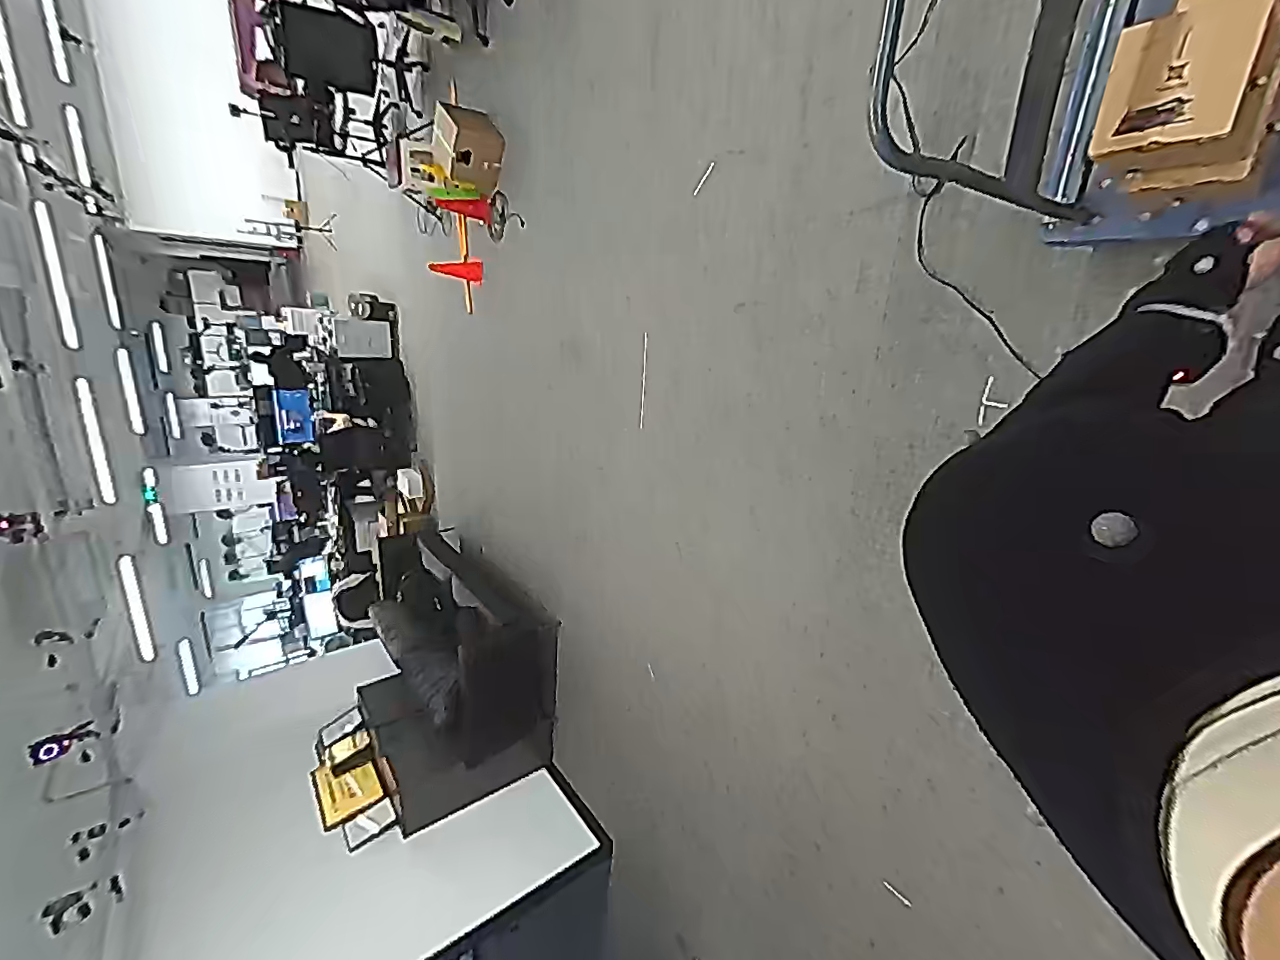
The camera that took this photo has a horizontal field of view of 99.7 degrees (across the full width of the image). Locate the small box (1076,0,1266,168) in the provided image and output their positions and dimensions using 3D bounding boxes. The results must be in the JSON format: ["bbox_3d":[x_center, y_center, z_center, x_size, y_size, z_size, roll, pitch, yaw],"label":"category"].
[{"bbox_3d":[0.831,-0.607,0.848,0.168,0.176,0.179,24,115,47],"label":"small box"}]

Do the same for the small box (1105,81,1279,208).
[{"bbox_3d":[0.965,-0.607,0.958,0.179,0.176,0.168,56,138,29],"label":"small box"}]
